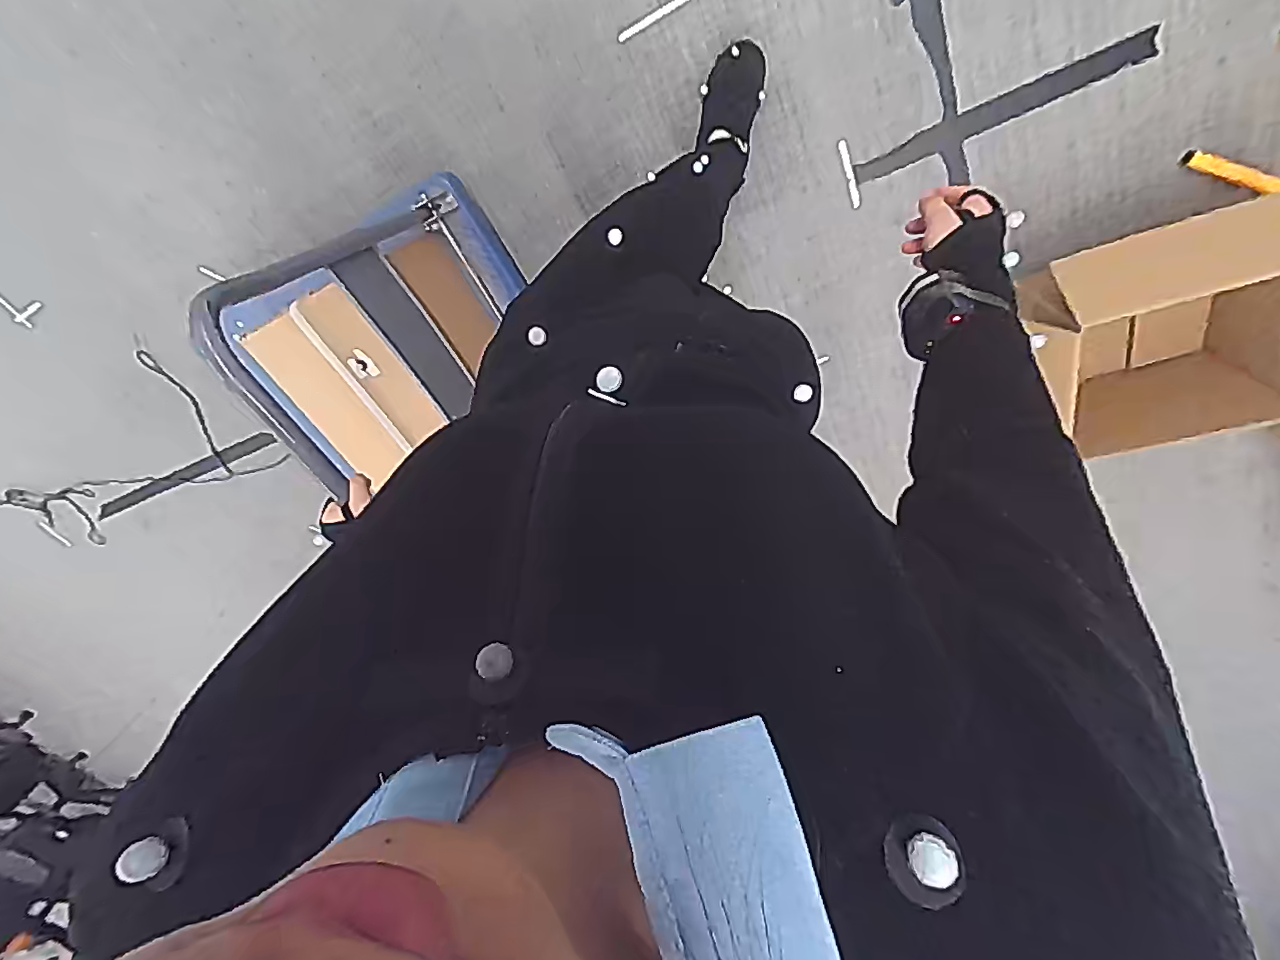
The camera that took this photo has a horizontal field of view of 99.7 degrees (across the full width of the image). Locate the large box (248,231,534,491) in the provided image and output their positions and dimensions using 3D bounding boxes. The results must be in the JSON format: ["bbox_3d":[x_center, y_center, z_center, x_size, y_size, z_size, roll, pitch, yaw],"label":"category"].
[{"bbox_3d":[-0.495,-0.252,1.173,0.320,0.320,0.408,-19,120,19],"label":"large box"}]
